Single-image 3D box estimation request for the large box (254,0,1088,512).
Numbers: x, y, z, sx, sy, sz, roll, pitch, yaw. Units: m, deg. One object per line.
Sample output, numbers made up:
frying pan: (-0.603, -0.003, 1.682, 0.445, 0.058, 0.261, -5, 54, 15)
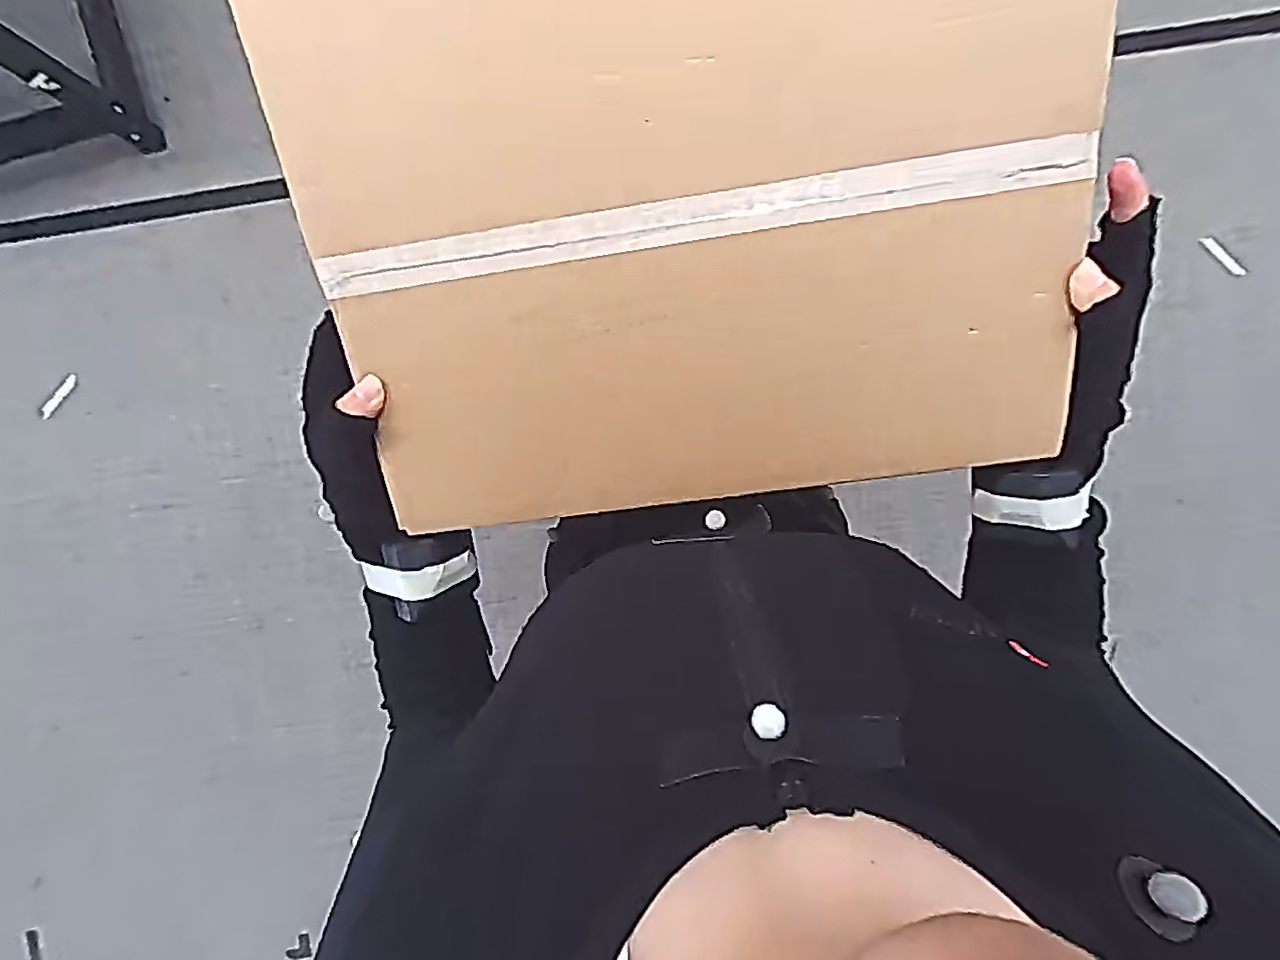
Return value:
large box: (0.026, -0.196, 0.432, 0.408, 0.320, 0.320, -7, 110, 3)
